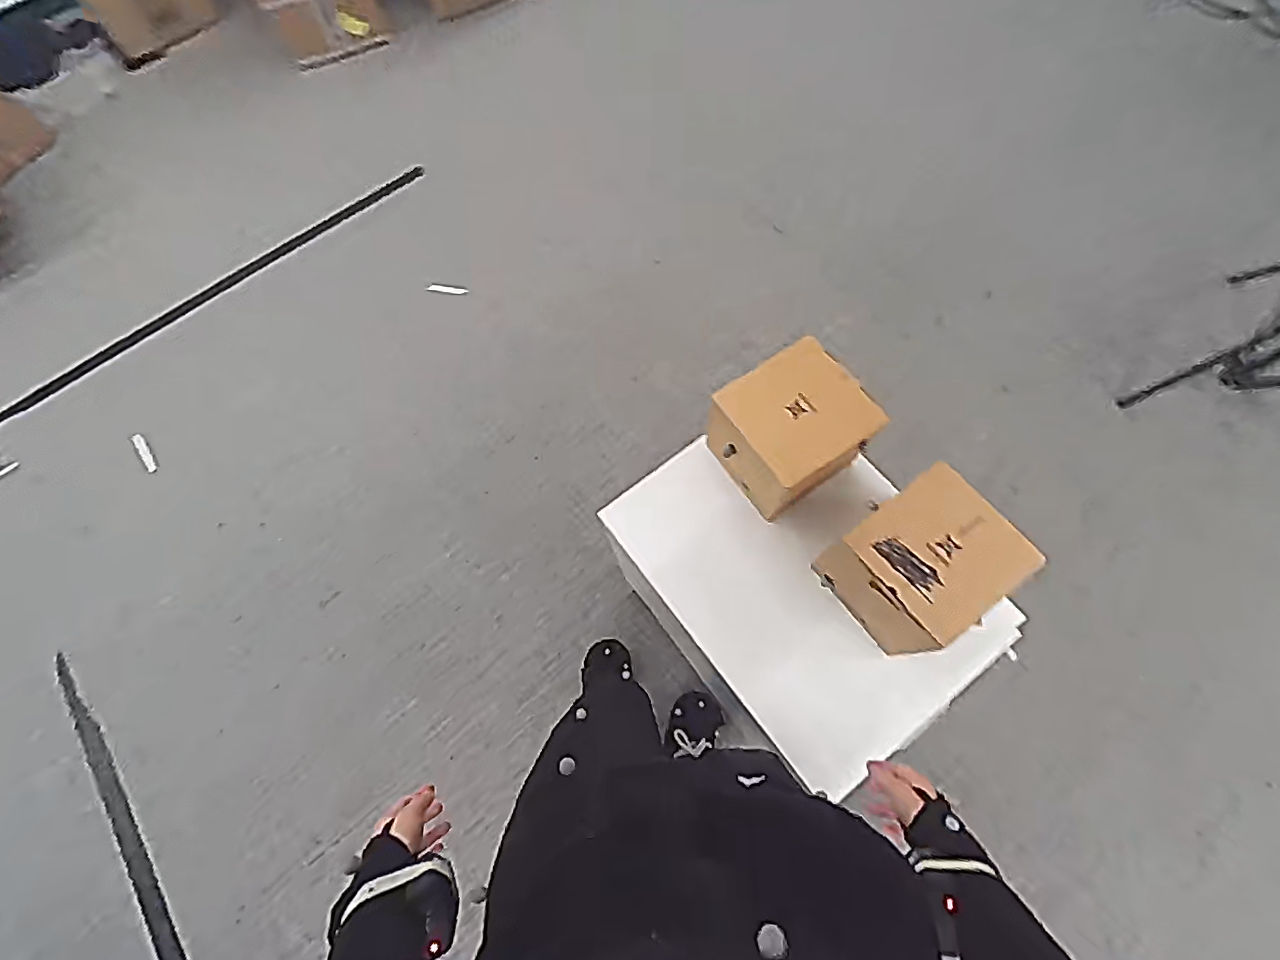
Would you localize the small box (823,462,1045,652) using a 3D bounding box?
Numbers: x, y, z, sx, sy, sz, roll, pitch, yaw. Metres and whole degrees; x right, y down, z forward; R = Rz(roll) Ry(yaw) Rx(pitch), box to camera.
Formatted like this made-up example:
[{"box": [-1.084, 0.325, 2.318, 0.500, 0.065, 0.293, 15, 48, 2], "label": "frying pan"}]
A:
[{"box": [0.369, 0.112, 0.724, 0.179, 0.176, 0.168, -35, 71, -10], "label": "small box"}]

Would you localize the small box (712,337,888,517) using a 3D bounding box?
[{"box": [0.220, -0.068, 0.800, 0.179, 0.176, 0.168, -33, 72, -9], "label": "small box"}]
